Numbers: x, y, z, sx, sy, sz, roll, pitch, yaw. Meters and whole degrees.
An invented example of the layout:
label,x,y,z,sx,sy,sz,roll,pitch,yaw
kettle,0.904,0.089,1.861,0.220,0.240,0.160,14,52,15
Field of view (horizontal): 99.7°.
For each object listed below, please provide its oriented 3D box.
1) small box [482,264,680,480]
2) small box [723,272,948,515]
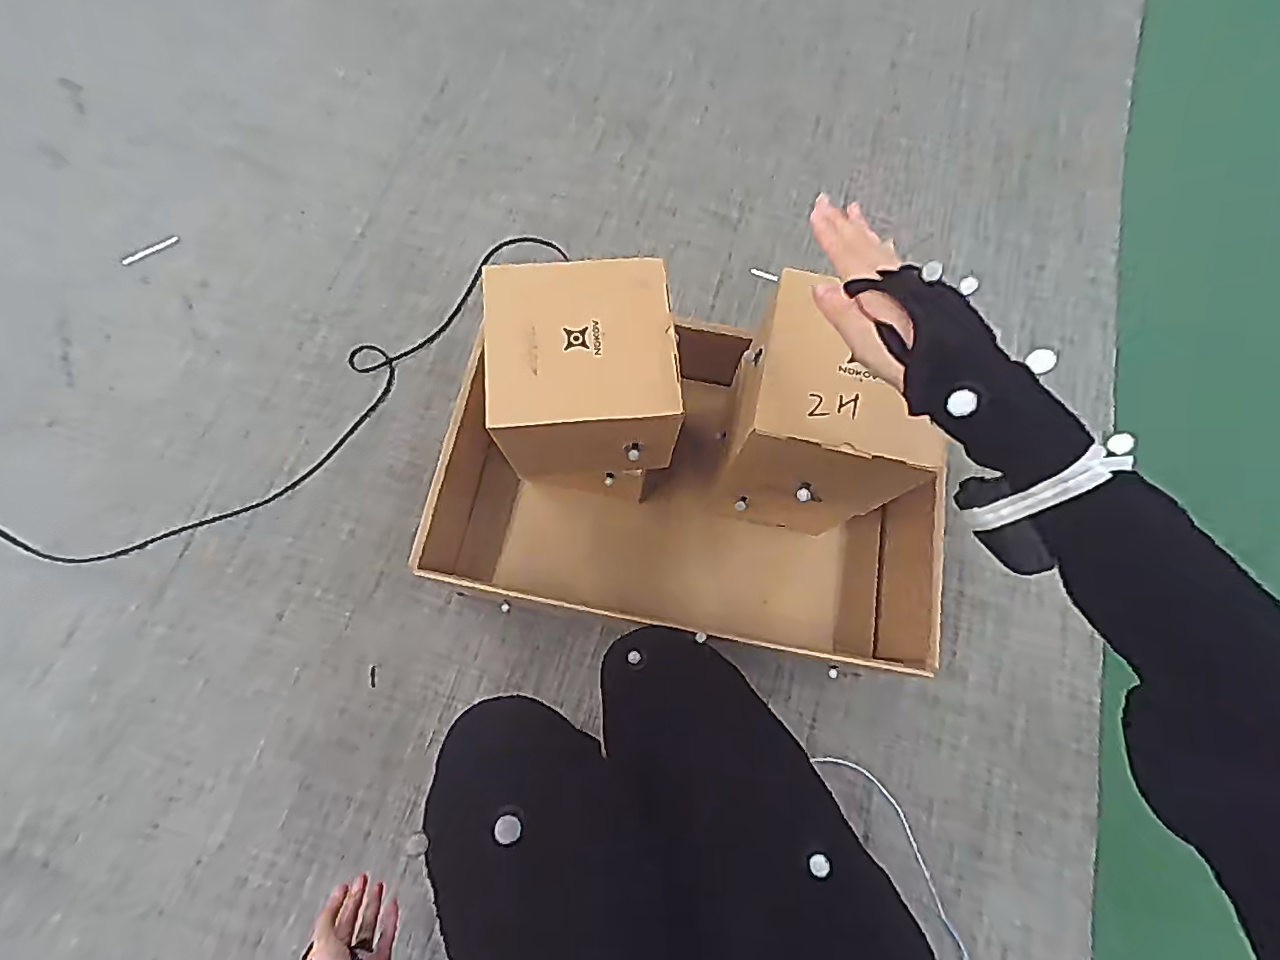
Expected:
label,x,y,z,sx,sy,sz,roll,pitch,yaw
small box,-0.060,-0.103,0.571,0.179,0.176,0.168,-4,75,-3
small box,0.190,-0.078,0.565,0.168,0.176,0.179,13,75,3
